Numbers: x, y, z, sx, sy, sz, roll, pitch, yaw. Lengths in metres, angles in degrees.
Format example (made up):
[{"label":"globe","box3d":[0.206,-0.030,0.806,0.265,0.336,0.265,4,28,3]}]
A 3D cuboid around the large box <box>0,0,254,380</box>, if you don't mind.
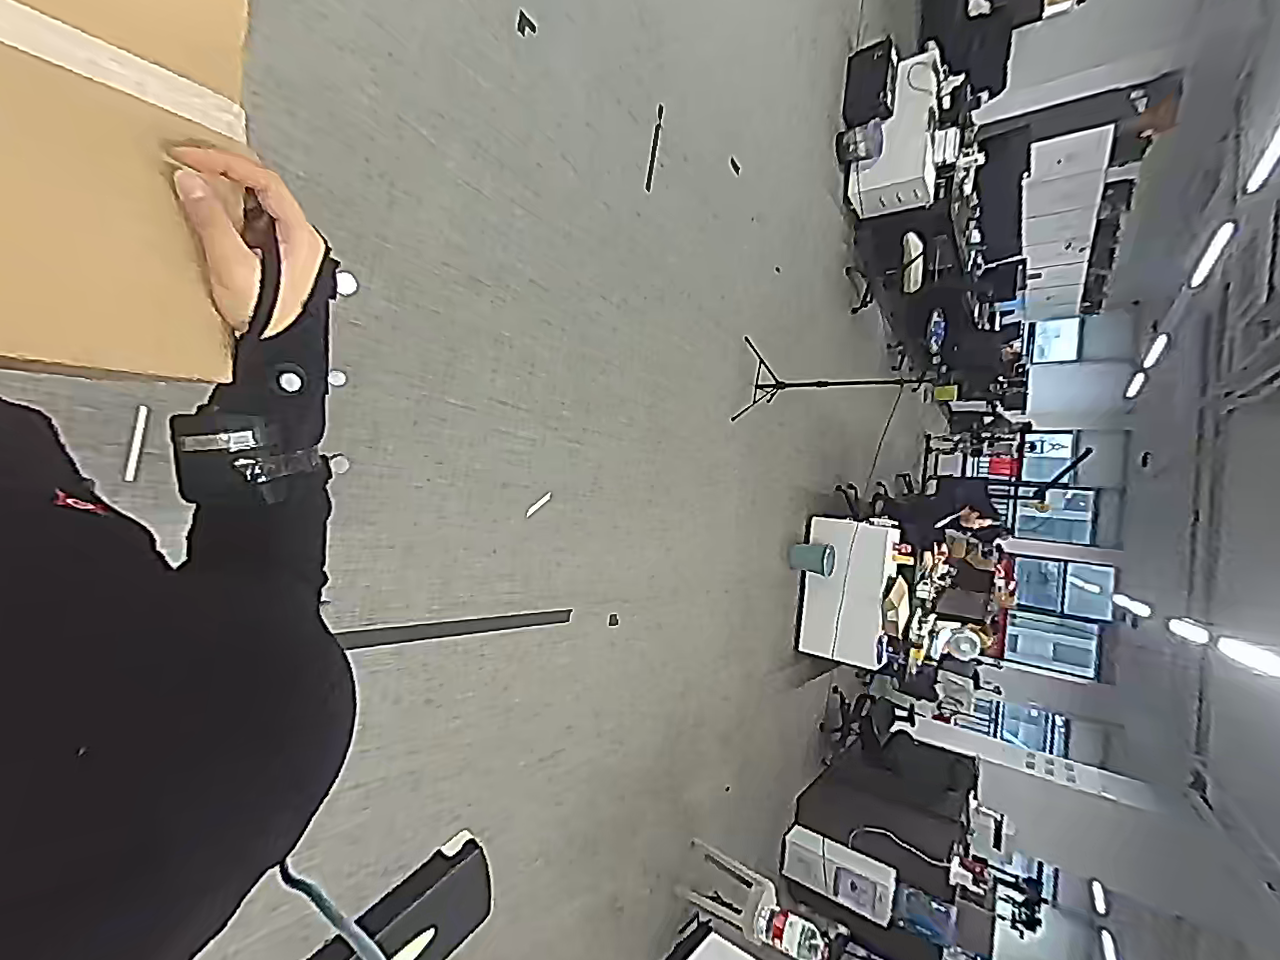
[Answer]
[{"label":"large box","box3d":[-0.489,-0.231,0.279,0.408,0.320,0.320,0,98,-53]}]
